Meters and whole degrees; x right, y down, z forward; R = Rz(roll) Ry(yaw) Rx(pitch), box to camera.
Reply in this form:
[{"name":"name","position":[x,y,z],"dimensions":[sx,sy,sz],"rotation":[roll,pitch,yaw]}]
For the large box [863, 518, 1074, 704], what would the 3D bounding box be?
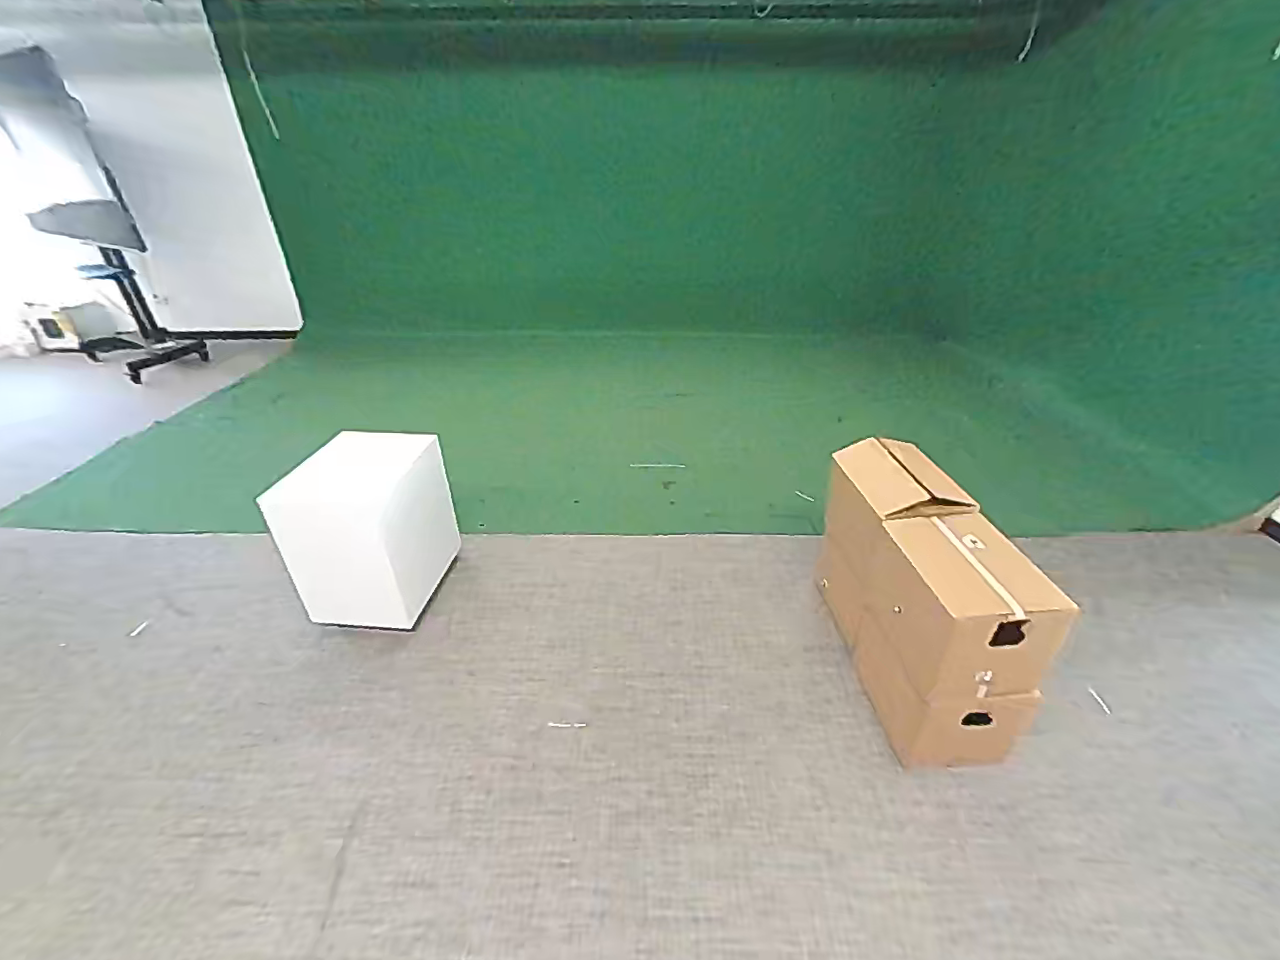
[{"name":"large box","position":[0.879,0.354,1.524],"dimensions":[0.320,0.320,0.408],"rotation":[-4,30,-2]}]
